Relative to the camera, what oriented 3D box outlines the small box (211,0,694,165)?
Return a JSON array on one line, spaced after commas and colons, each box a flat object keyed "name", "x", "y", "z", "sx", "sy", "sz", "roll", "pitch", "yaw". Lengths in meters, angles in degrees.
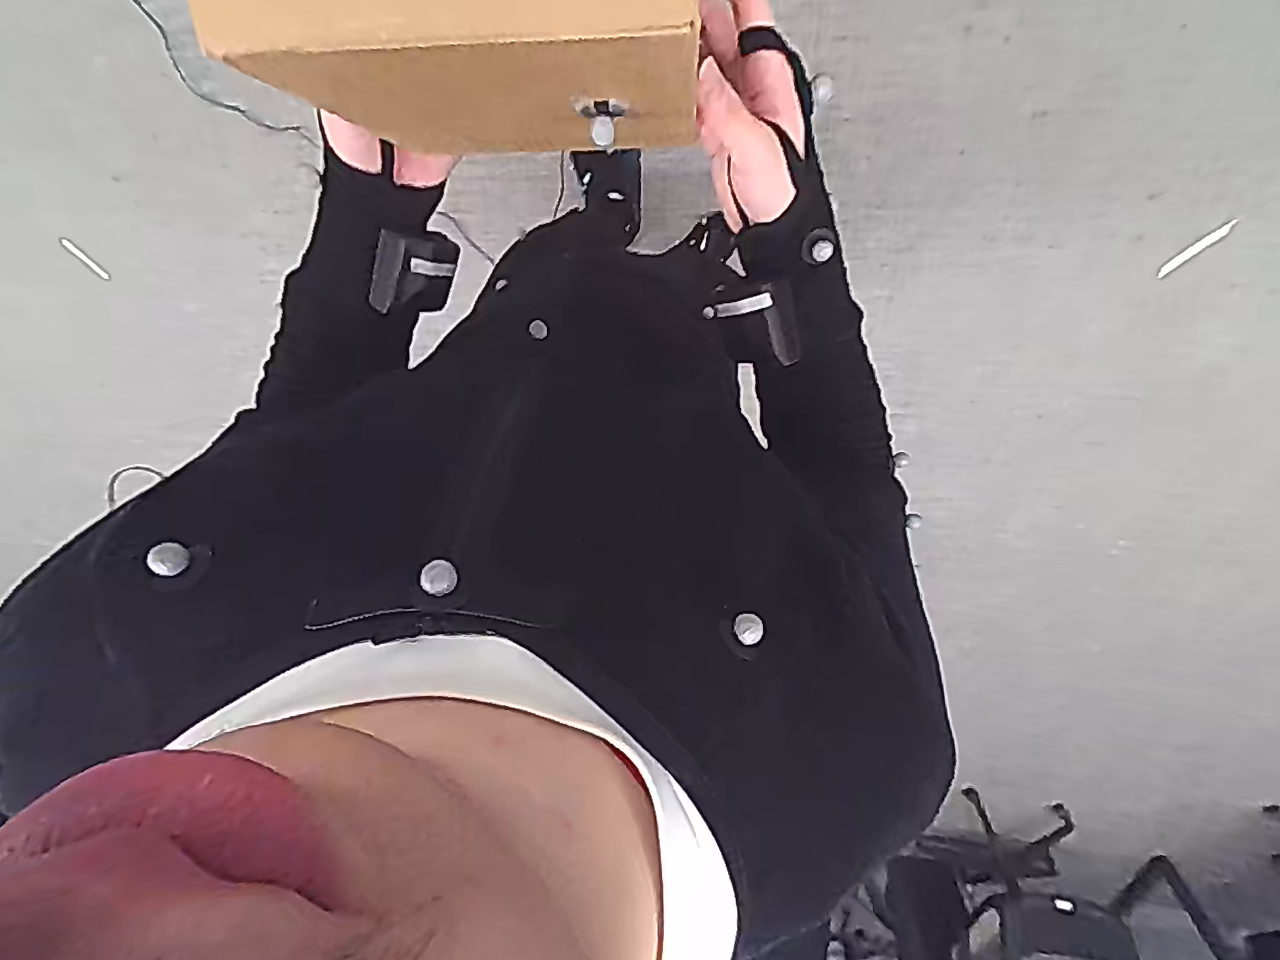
[{"name": "small box", "x": -0.064, "y": -0.254, "z": 0.245, "sx": 0.179, "sy": 0.176, "sz": 0.168, "roll": 0, "pitch": 109, "yaw": 5}]
